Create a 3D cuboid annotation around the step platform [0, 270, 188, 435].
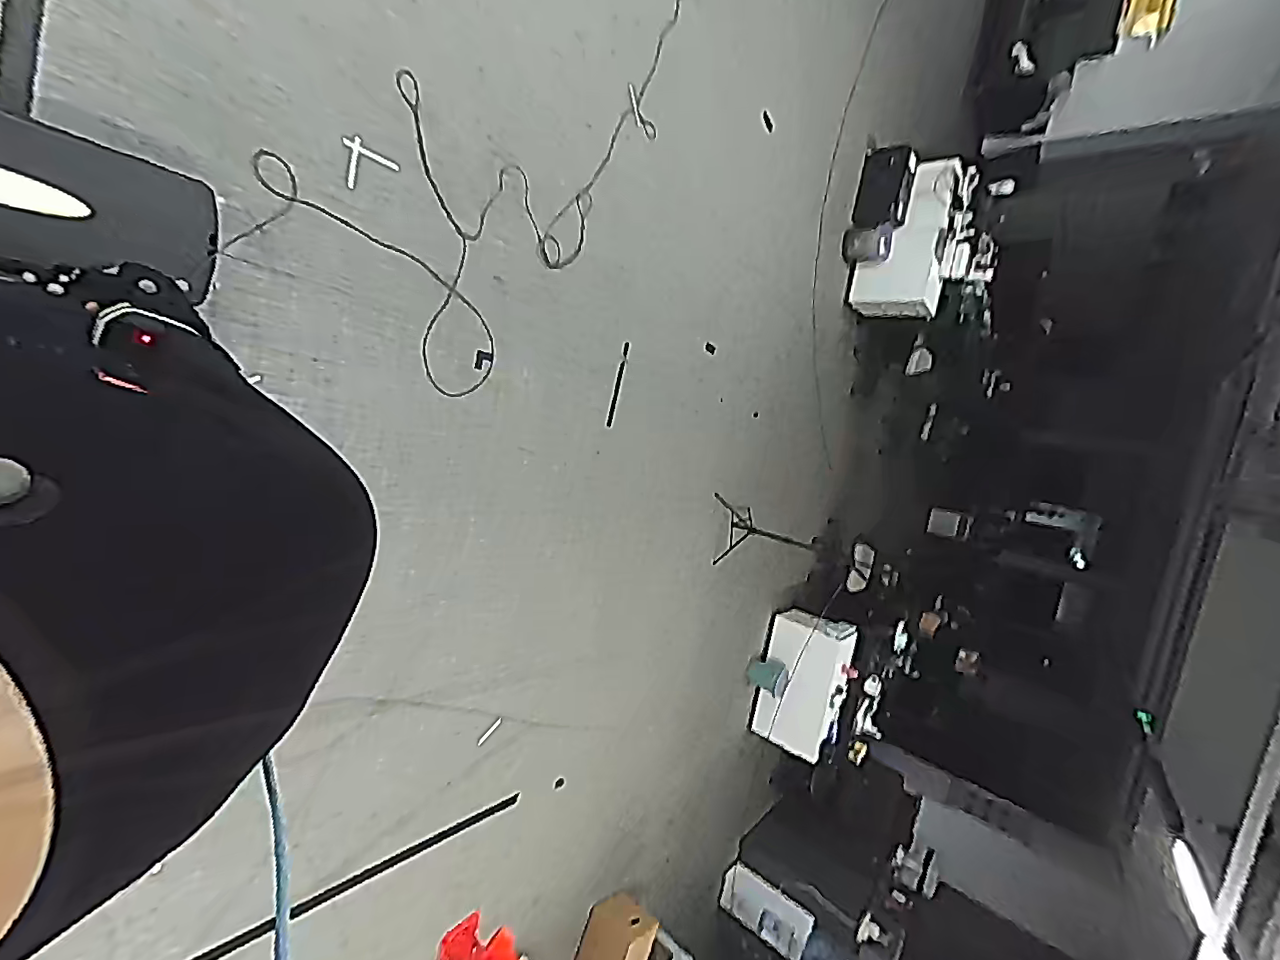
[{"bbox_3d":[-1.256,-0.254,0.972,0.684,0.204,0.286,3,99,-51],"label":"step platform"}]
